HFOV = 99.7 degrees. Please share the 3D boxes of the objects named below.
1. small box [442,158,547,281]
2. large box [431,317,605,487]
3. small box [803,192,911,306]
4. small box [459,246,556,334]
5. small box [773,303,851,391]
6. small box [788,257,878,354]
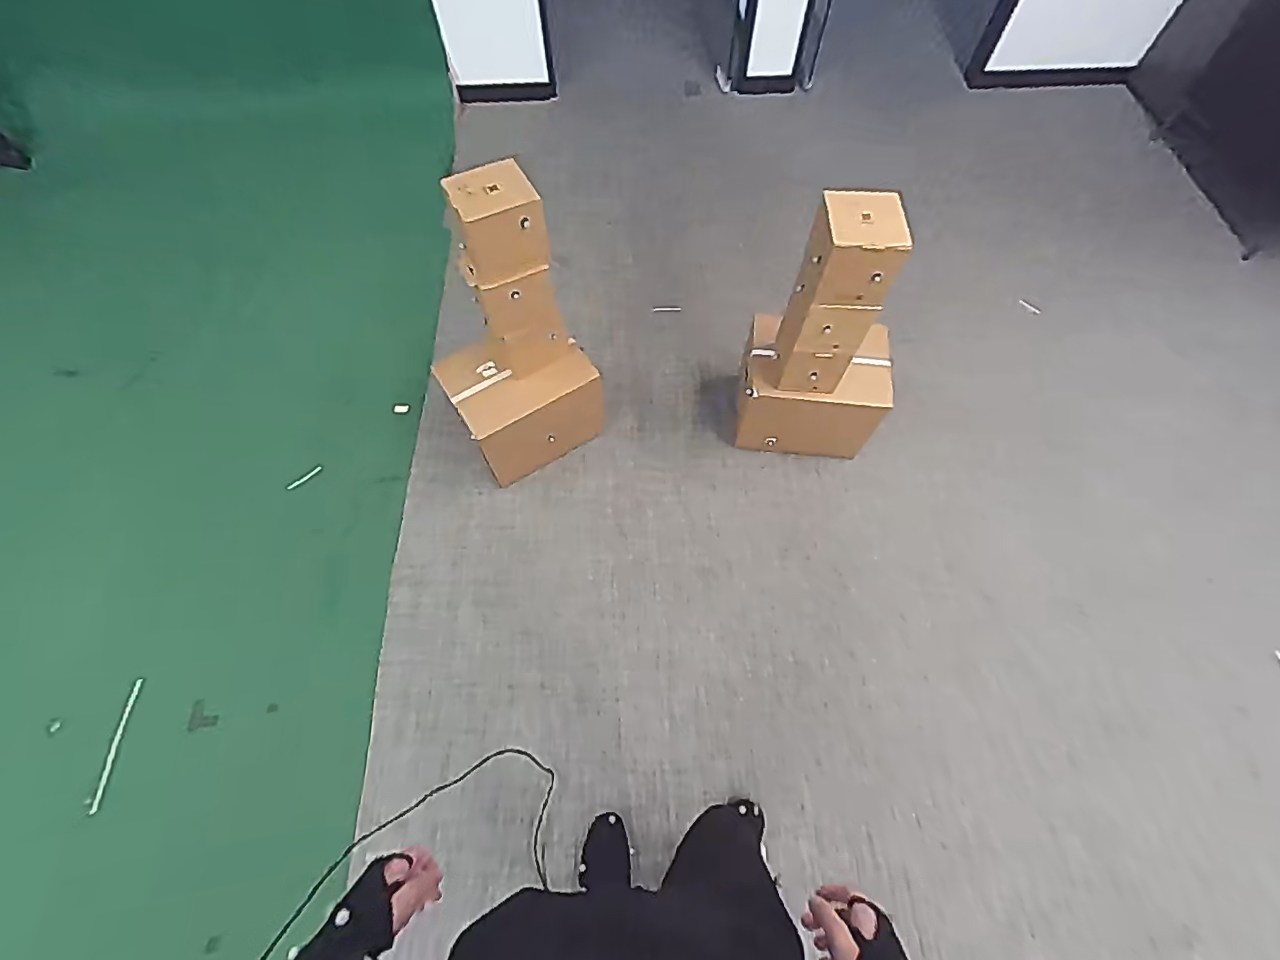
[{"bbox_3d":[-0.325,-0.594,1.242,0.179,0.176,0.168,-25,65,-13],"label":"small box"},{"bbox_3d":[-0.365,-0.247,1.711,0.408,0.320,0.320,-32,66,-14],"label":"large box"},{"bbox_3d":[0.477,-0.514,1.214,0.168,0.176,0.179,3,63,0],"label":"small box"},{"bbox_3d":[-0.332,-0.503,1.381,0.179,0.176,0.168,-25,66,-13],"label":"small box"},{"bbox_3d":[0.472,-0.365,1.504,0.168,0.176,0.179,4,65,1],"label":"small box"},{"bbox_3d":[0.476,-0.436,1.358,0.168,0.176,0.179,3,63,1],"label":"small box"}]
